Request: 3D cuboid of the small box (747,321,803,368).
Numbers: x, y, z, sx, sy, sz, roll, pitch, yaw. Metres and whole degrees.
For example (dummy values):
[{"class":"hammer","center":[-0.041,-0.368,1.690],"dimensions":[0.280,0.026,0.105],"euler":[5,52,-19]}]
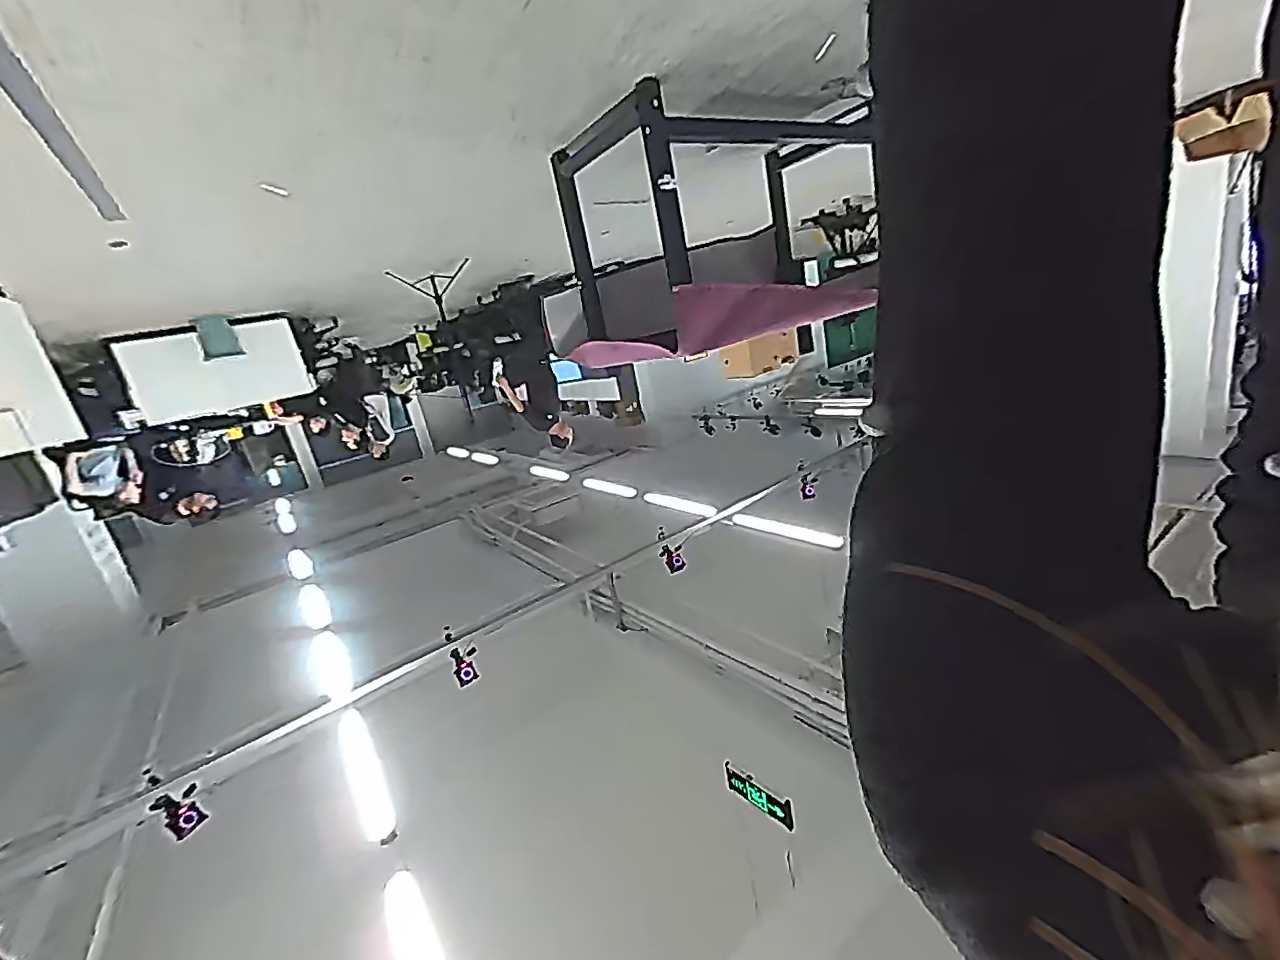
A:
[{"class":"small box","center":[0.580,-0.586,2.341],"dimensions":[0.168,0.176,0.179],"euler":[-22,-162,-30]}]
